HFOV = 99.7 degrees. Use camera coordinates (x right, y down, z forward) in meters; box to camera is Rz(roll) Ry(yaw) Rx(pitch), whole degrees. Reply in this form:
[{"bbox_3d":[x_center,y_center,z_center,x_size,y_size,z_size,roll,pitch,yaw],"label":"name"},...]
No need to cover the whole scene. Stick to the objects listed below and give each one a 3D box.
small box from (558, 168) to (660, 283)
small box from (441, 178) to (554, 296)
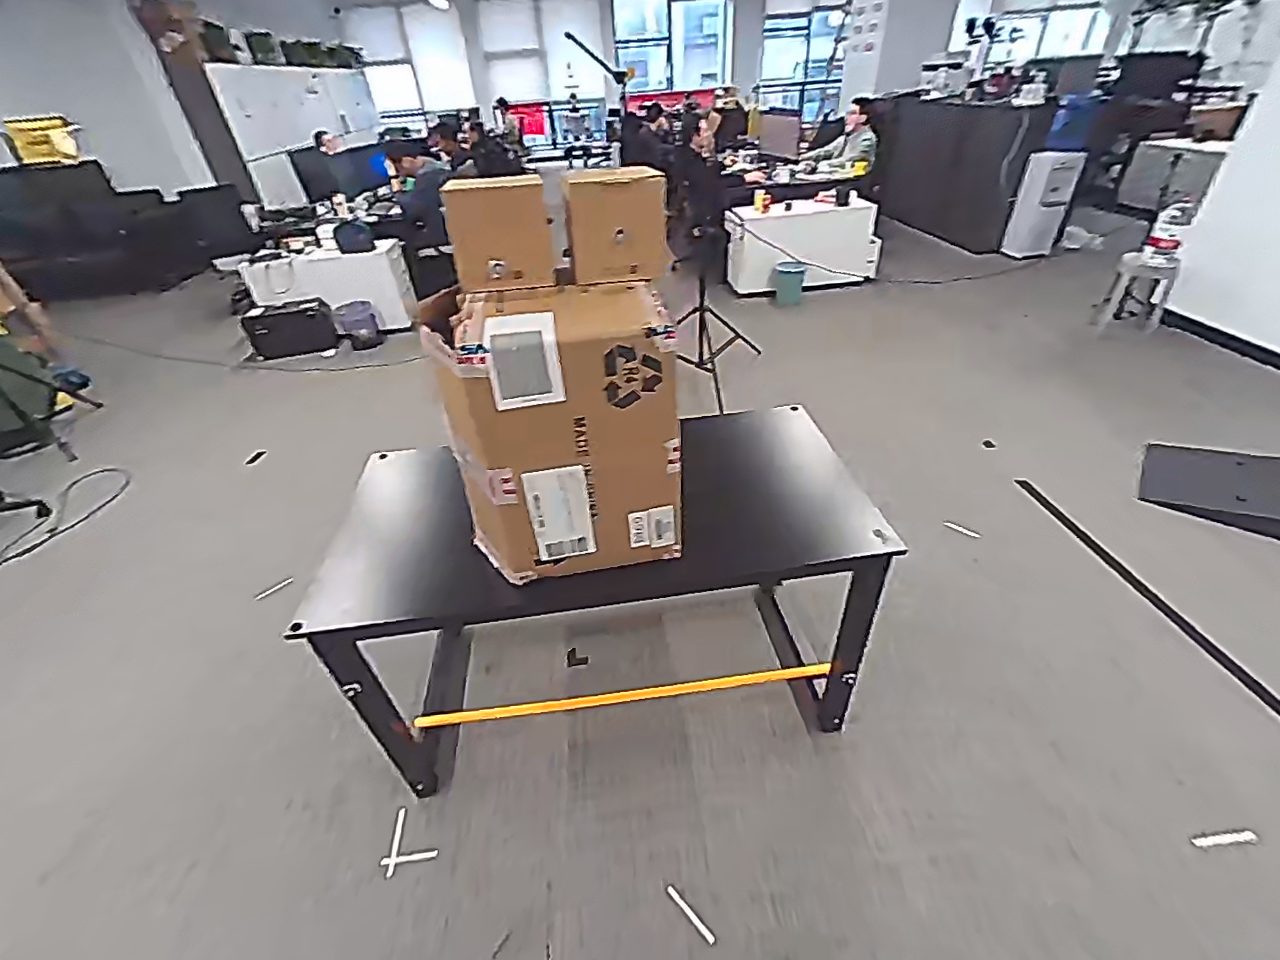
[{"bbox_3d":[-0.058,-0.473,1.011,0.168,0.176,0.179,-8,36,-9],"label":"small box"},{"bbox_3d":[-0.255,-0.447,0.992,0.168,0.176,0.179,-10,35,-8],"label":"small box"}]
